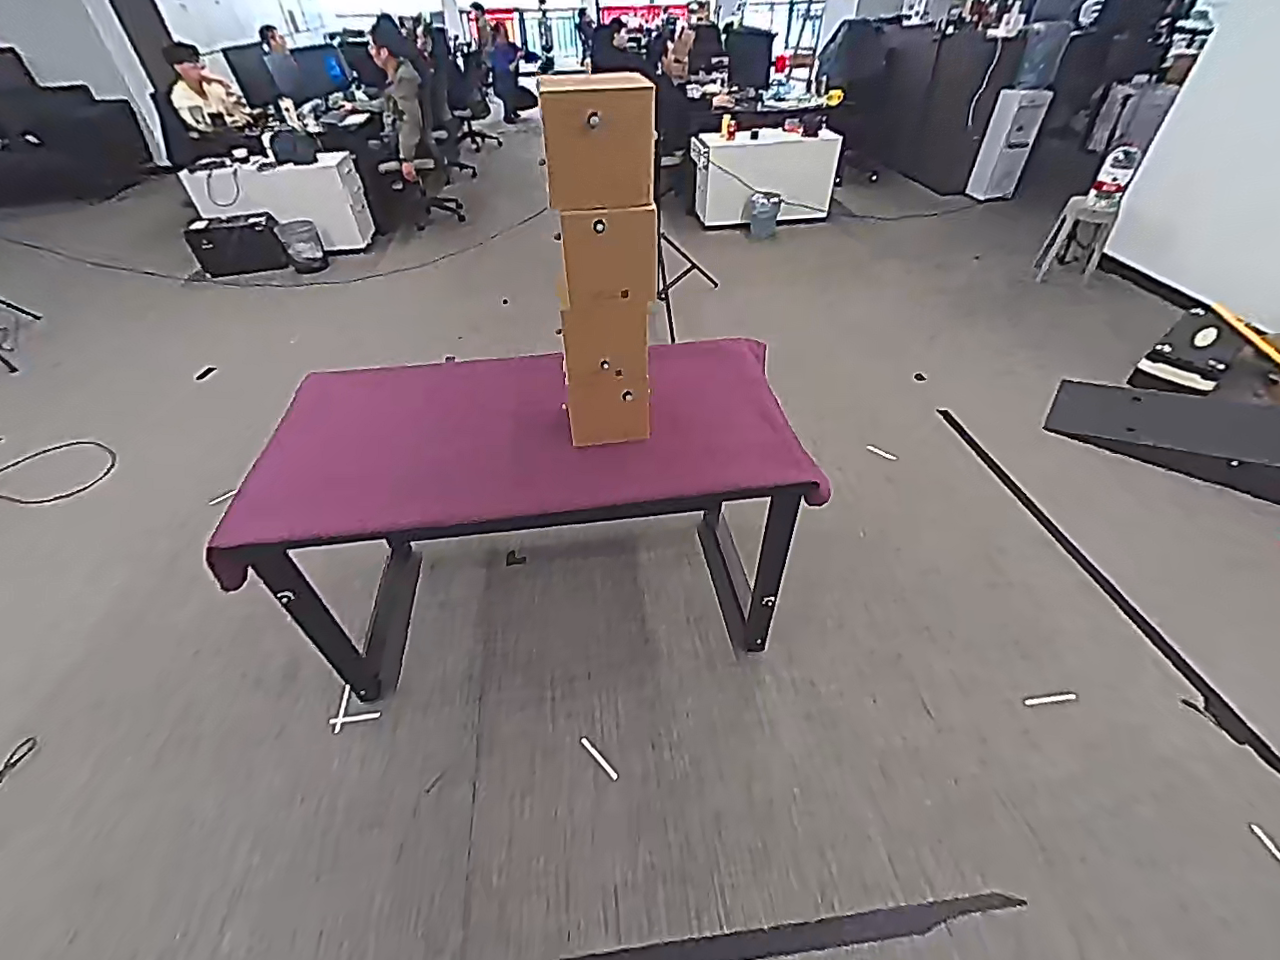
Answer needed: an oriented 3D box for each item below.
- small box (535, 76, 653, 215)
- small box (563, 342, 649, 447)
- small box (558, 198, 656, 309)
[{"bbox_3d":[-0.077,-0.565,0.913,0.179,0.176,0.168,-8,43,-6],"label":"small box"},{"bbox_3d":[-0.077,-0.194,1.234,0.179,0.176,0.168,-7,42,-5],"label":"small box"},{"bbox_3d":[-0.065,-0.438,1.015,0.168,0.176,0.179,-7,43,-6],"label":"small box"}]
